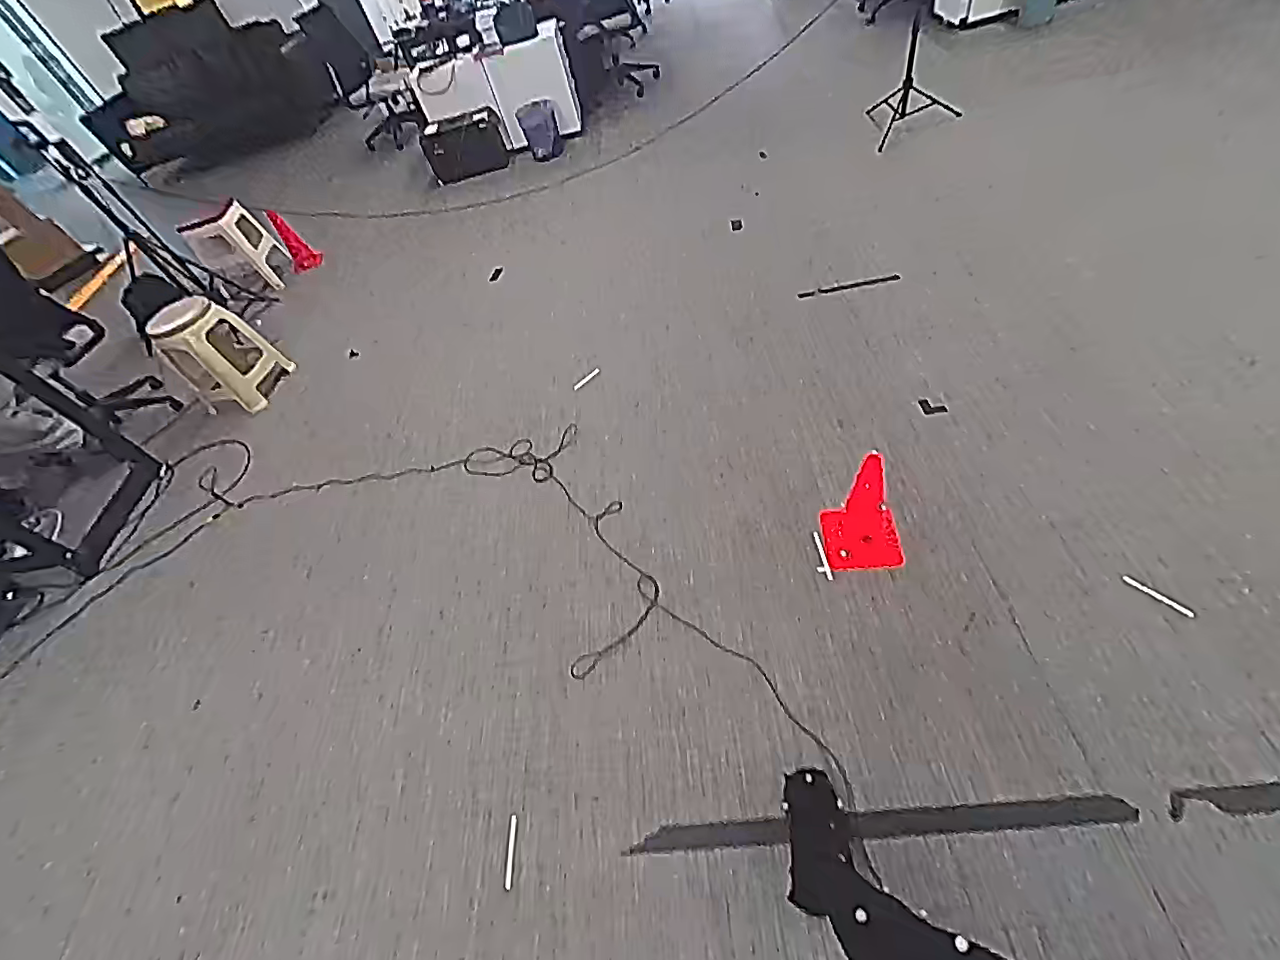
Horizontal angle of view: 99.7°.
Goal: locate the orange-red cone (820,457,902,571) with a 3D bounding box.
[{"bbox_3d":[0.583,0.064,1.391,0.199,0.360,0.198,-4,52,12],"label":"orange-red cone"}]
